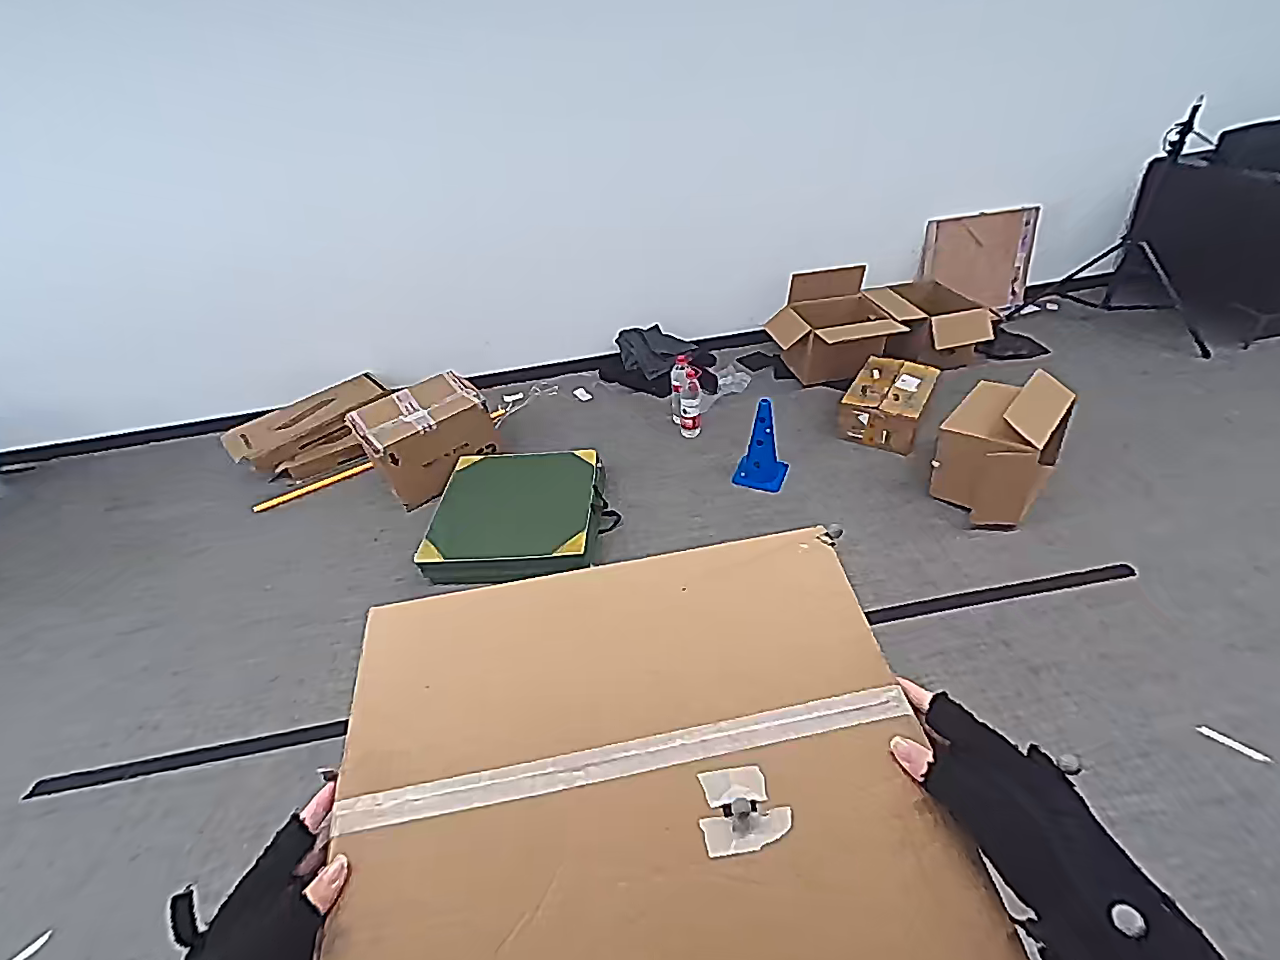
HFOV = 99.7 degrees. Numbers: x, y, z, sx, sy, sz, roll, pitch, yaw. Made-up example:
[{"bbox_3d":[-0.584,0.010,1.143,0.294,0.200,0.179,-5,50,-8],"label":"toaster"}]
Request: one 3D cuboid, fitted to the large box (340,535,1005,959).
[{"bbox_3d":[0.003,0.295,0.510,0.408,0.320,0.320,-10,51,-4],"label":"large box"}]
